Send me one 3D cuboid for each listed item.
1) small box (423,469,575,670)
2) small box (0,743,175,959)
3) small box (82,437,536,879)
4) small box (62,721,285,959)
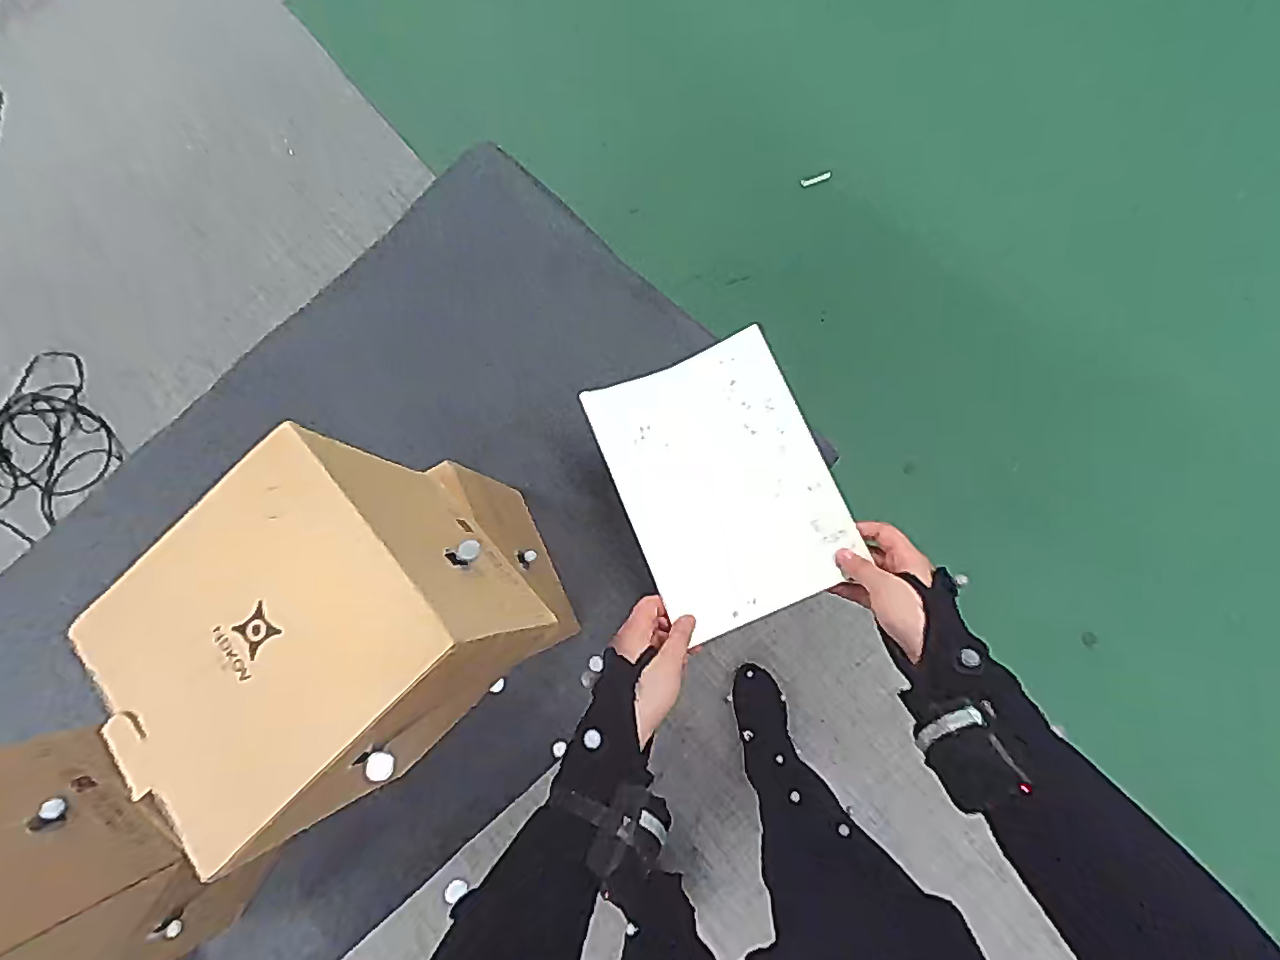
[{"bbox_3d":[-0.187,0.115,0.535,0.168,0.176,0.179,-28,77,4],"label":"small box"},{"bbox_3d":[-0.495,0.327,0.378,0.168,0.176,0.179,32,86,12],"label":"small box"},{"bbox_3d":[-0.193,0.102,0.371,0.179,0.176,0.168,-44,76,0],"label":"small box"},{"bbox_3d":[-0.473,0.353,0.539,0.168,0.176,0.179,30,86,12],"label":"small box"}]
